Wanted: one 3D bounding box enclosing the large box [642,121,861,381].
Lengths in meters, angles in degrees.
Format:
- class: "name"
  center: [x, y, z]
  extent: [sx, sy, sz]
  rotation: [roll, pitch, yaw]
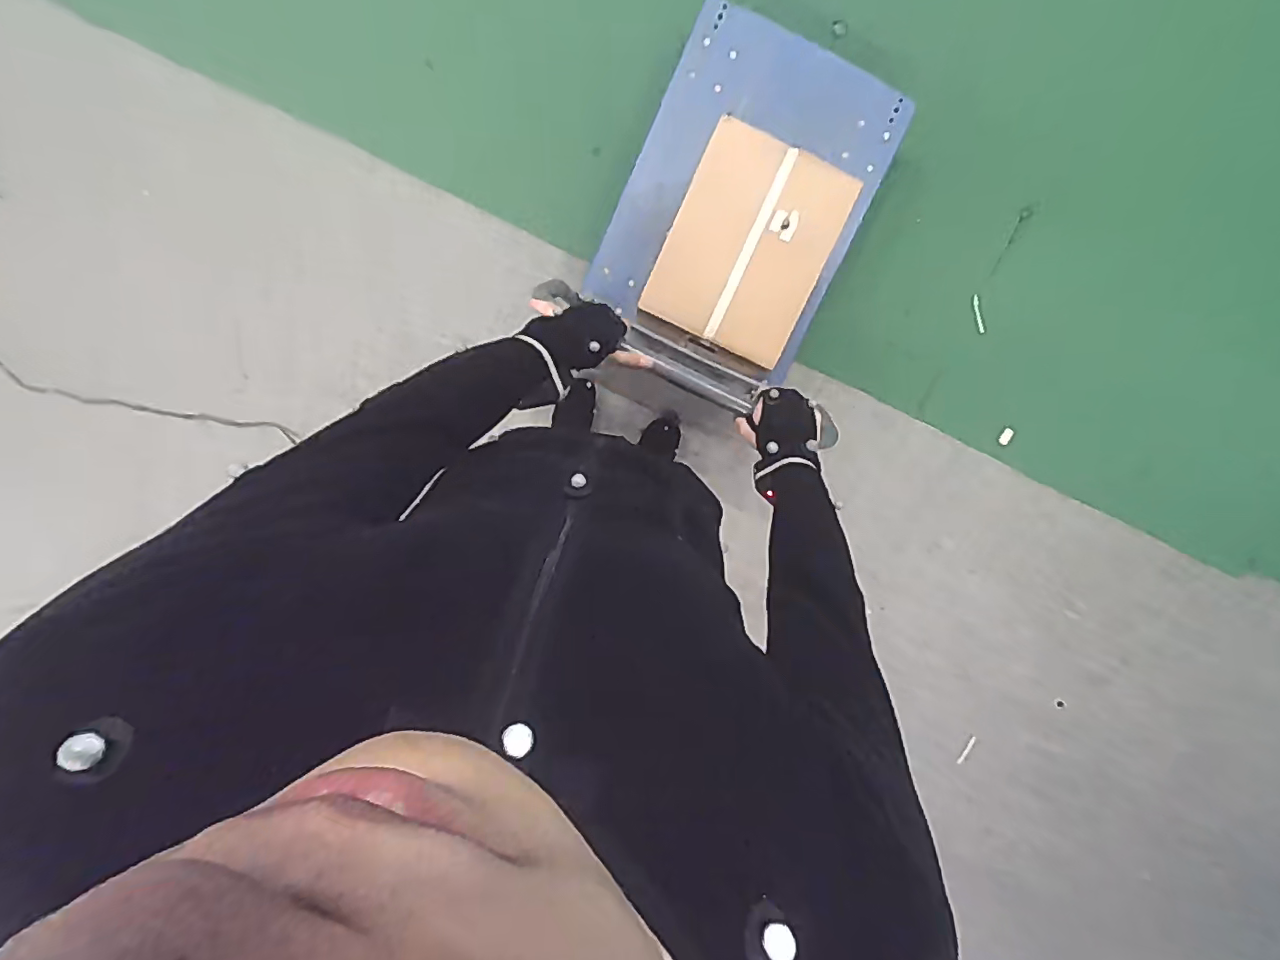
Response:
- class: "large box"
  center: [0.218, -0.474, 1.223]
  extent: [0.320, 0.320, 0.408]
  rotation: [24, 96, -5]
